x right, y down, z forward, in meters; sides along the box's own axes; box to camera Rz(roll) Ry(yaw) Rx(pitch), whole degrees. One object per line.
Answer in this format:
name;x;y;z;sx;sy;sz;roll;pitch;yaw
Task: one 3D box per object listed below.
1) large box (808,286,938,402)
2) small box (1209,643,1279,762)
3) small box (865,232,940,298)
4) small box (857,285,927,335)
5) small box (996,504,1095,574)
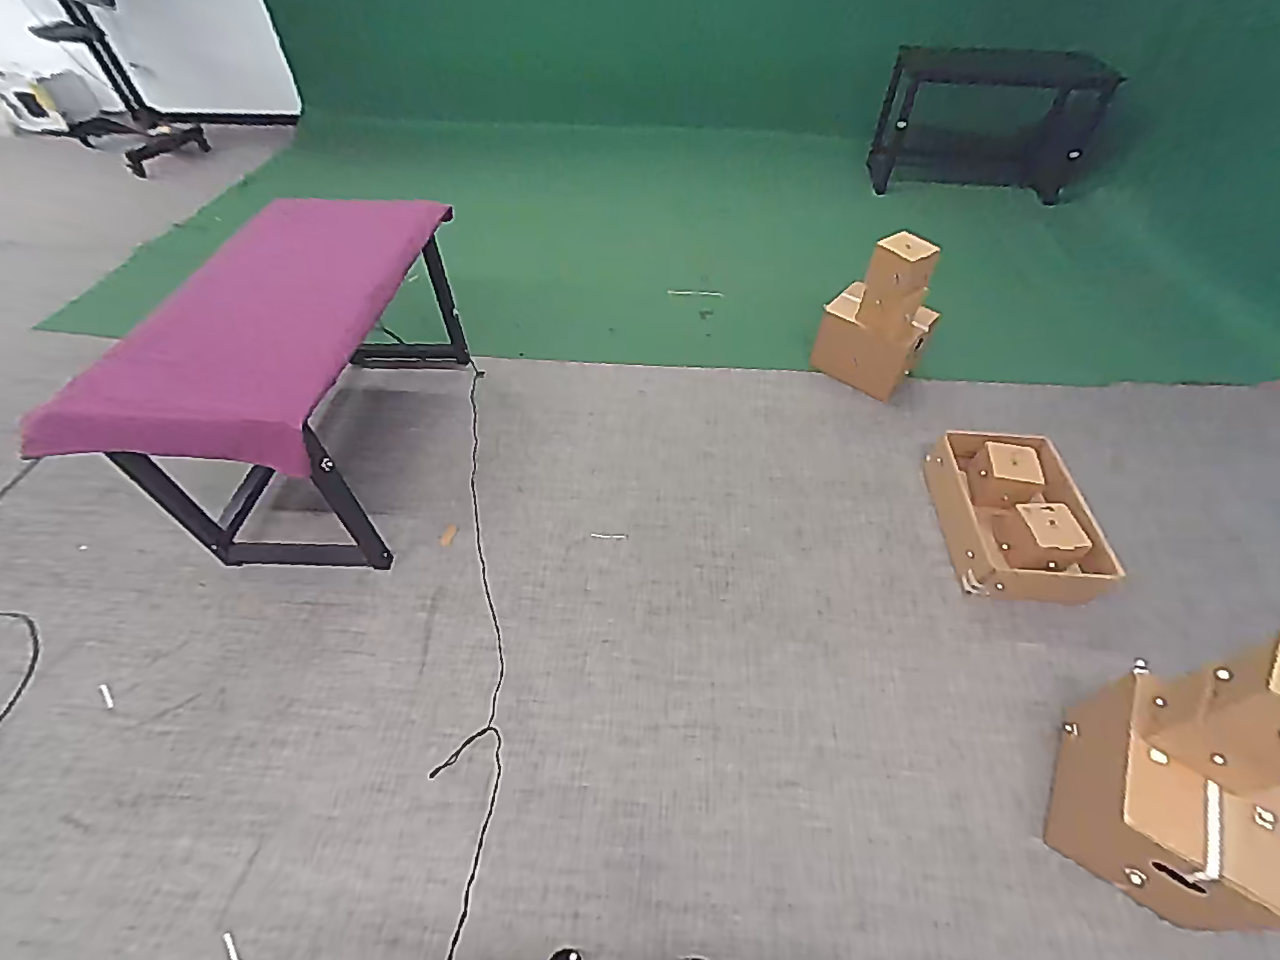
large box;1.048;-0.622;2.461;0.408;0.320;0.320;34;57;26
small box;1.262;0.433;1.025;0.179;0.176;0.168;36;59;29
small box;1.016;-0.831;2.106;0.168;0.176;0.179;-27;54;-19
small box;1.031;-0.720;2.226;0.168;0.176;0.179;-31;56;-21
small box;1.324;0.199;1.780;0.168;0.176;0.179;-1;49;1
